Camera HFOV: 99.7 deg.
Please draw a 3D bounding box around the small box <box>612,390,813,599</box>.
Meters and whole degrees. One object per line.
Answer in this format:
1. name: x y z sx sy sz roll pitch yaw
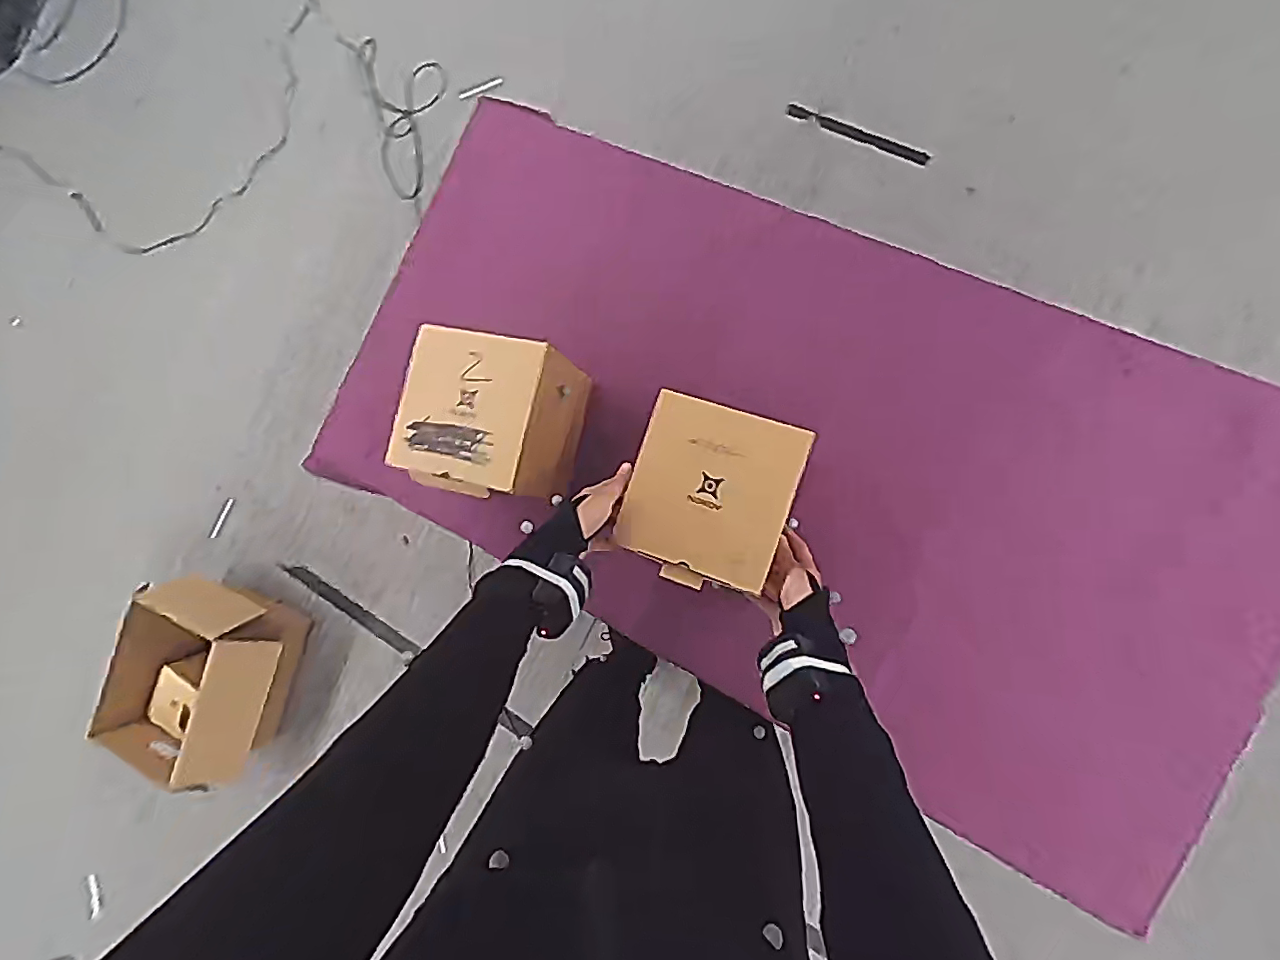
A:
1. small box: 0.089 0.017 0.632 0.168 0.176 0.179 20 90 12
